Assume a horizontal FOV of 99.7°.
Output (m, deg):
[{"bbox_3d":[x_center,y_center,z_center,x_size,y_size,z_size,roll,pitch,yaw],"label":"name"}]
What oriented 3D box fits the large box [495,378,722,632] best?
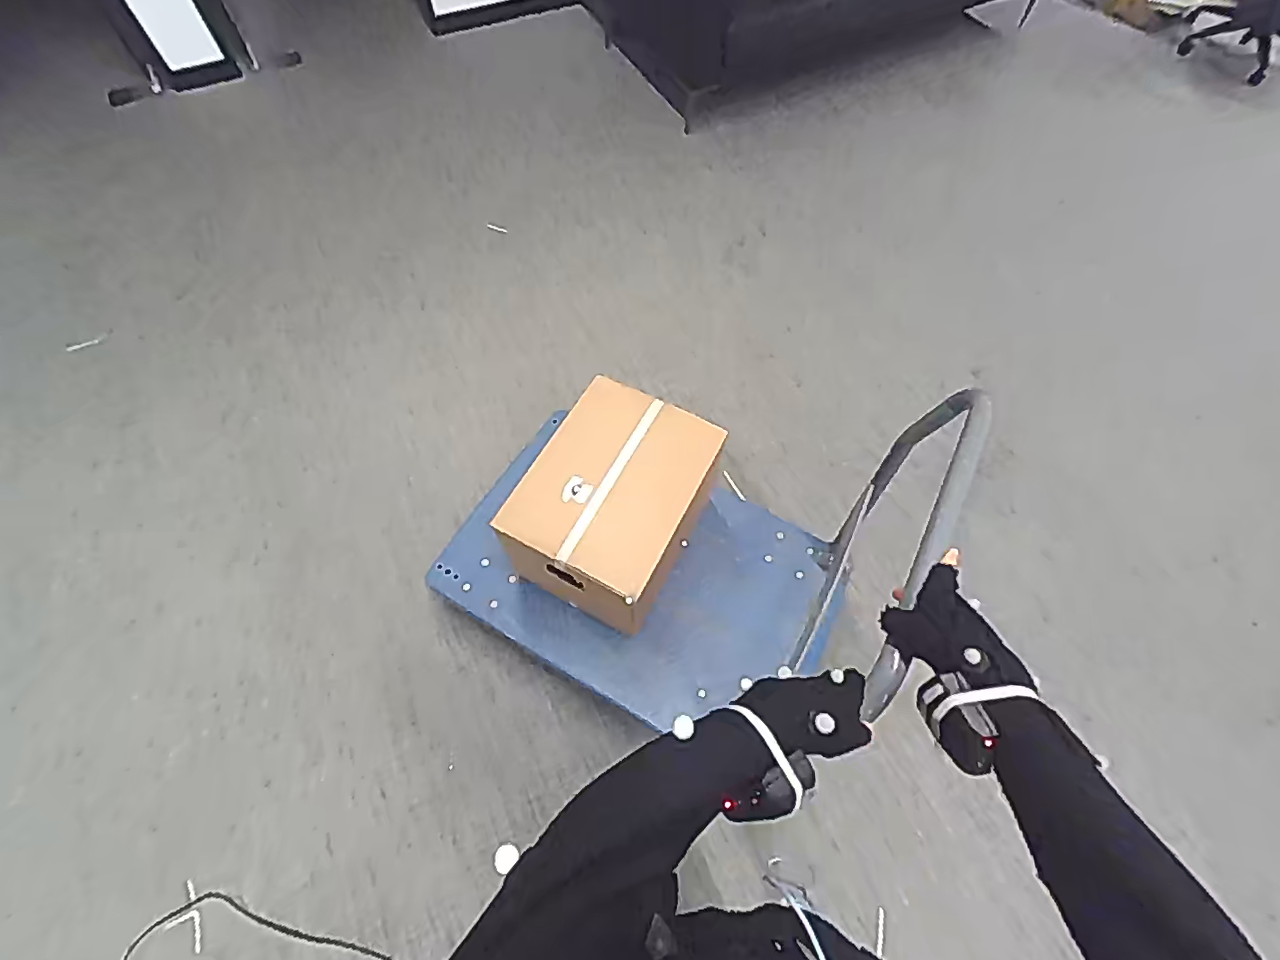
[{"bbox_3d":[-0.052,0.062,1.196,0.320,0.320,0.408,25,66,13],"label":"large box"}]
